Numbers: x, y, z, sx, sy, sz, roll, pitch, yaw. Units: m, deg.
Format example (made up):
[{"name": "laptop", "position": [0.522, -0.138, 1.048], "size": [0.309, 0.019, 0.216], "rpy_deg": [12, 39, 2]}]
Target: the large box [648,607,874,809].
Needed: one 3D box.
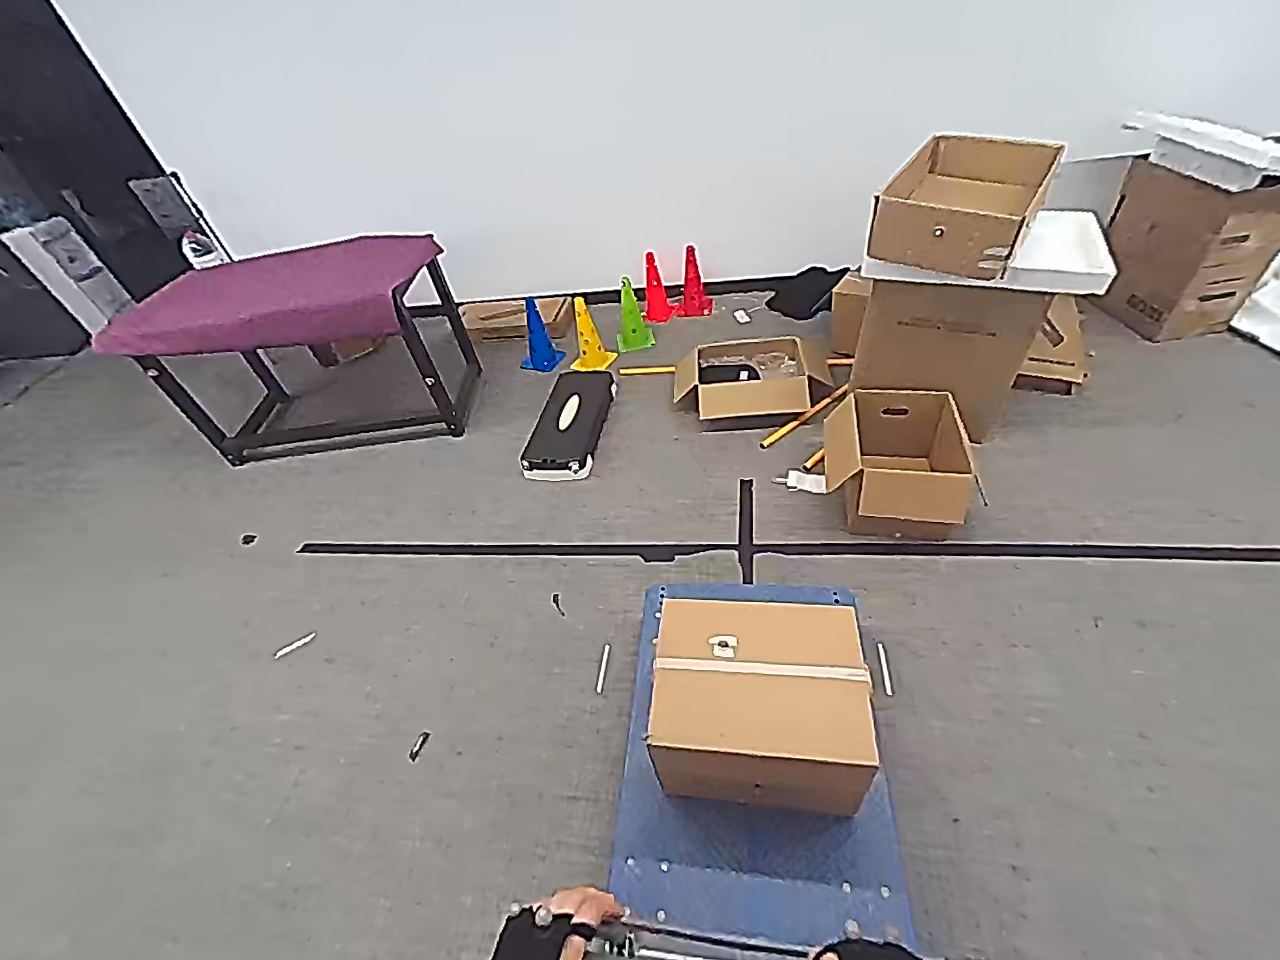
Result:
[{"name": "large box", "position": [0.251, 0.490, 1.171], "size": [0.408, 0.320, 0.320], "rpy_deg": [-1, 44, 11]}]
